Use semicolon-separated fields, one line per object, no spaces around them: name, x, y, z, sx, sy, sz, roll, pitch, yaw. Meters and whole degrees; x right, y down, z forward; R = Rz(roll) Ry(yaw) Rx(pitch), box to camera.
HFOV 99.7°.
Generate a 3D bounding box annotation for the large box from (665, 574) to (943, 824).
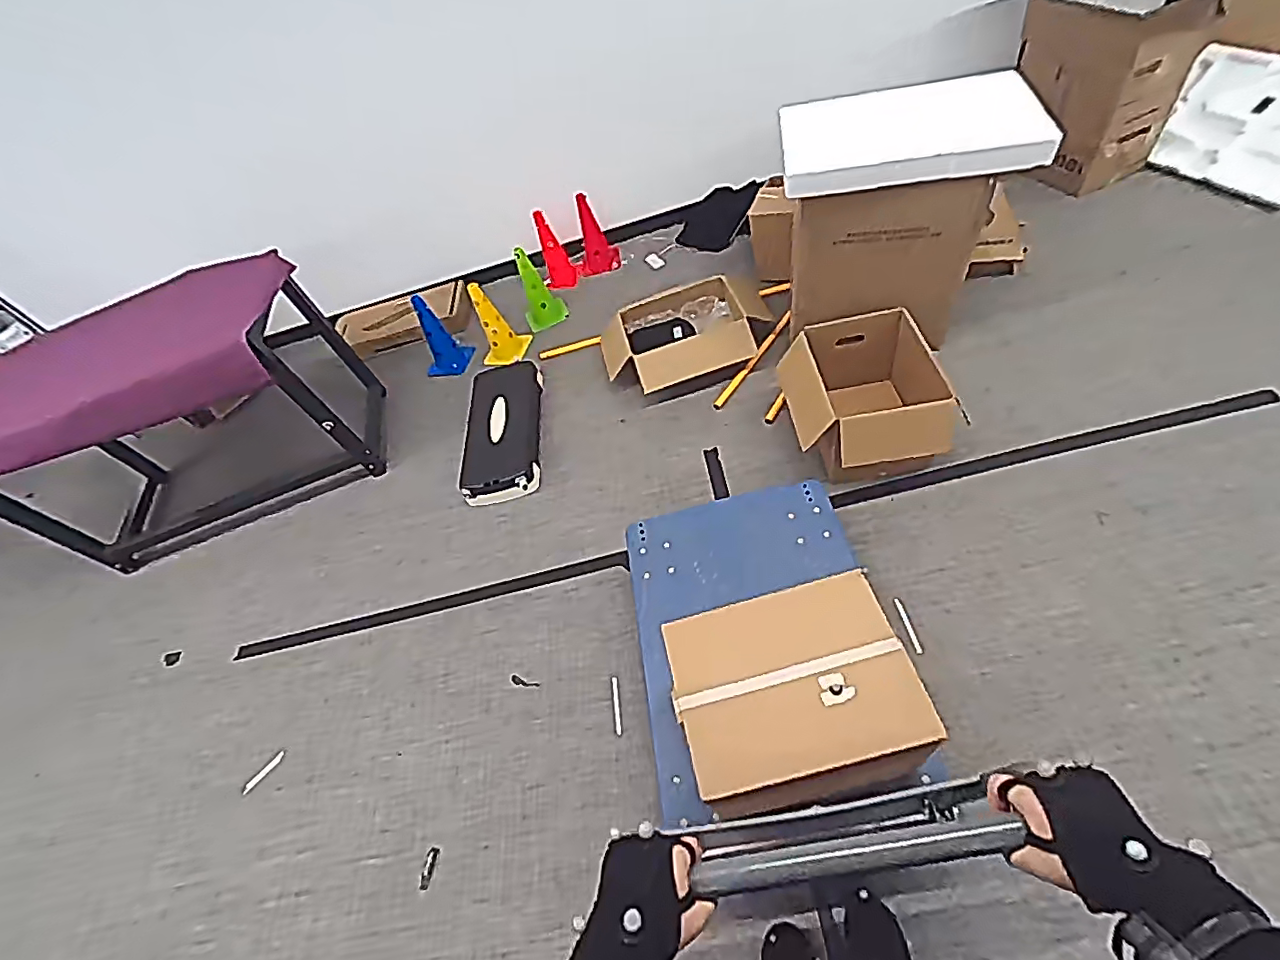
large box;0.297;0.443;1.074;0.408;0.320;0.320;-16;51;2
